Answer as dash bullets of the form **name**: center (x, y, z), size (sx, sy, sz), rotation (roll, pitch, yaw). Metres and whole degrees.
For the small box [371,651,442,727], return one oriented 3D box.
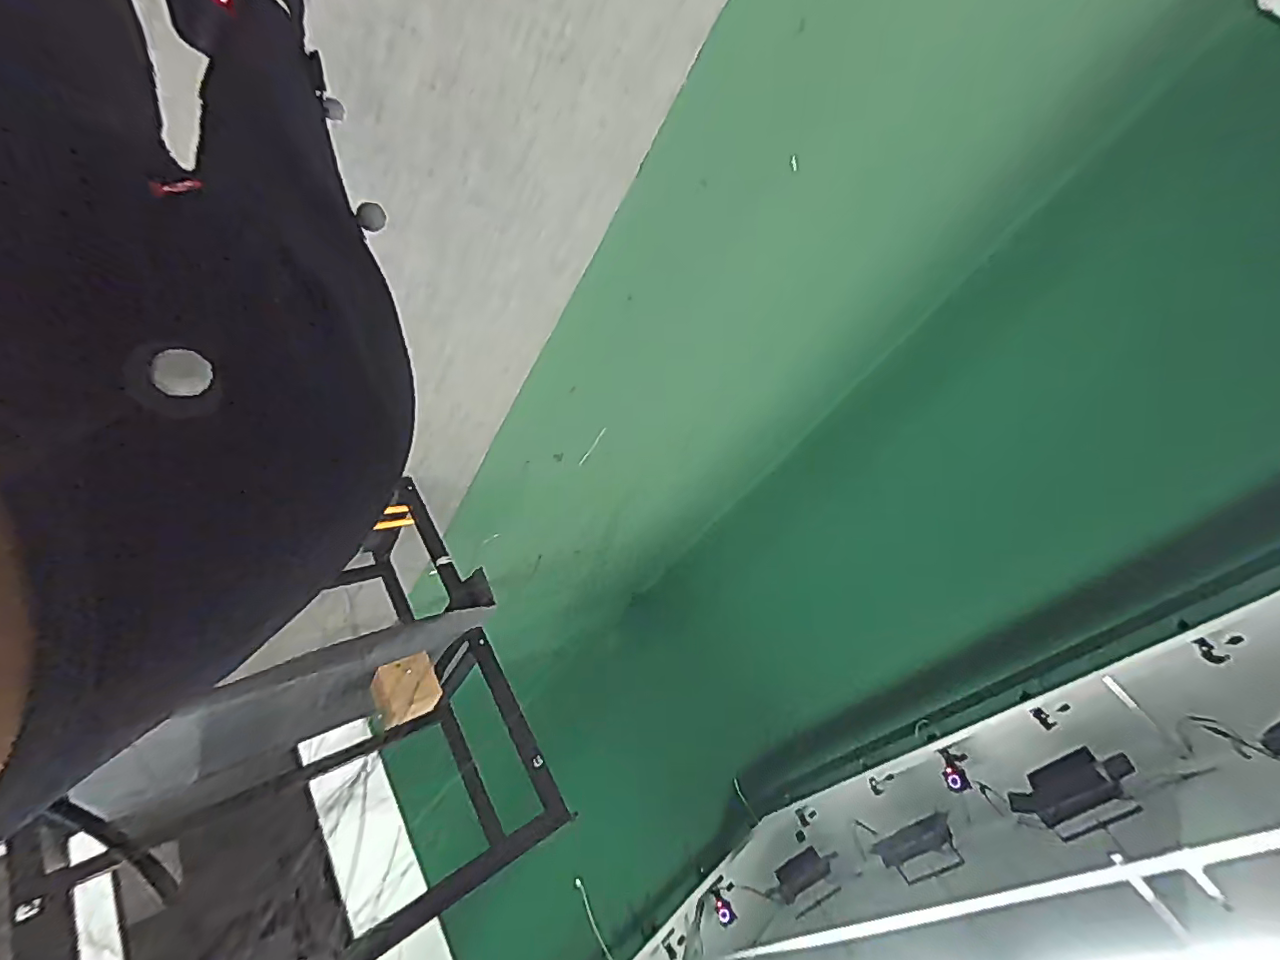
- **small box**: center (-0.826, 0.729, 1.901), size (0.168, 0.176, 0.179), rotation (-12, 148, -45)
